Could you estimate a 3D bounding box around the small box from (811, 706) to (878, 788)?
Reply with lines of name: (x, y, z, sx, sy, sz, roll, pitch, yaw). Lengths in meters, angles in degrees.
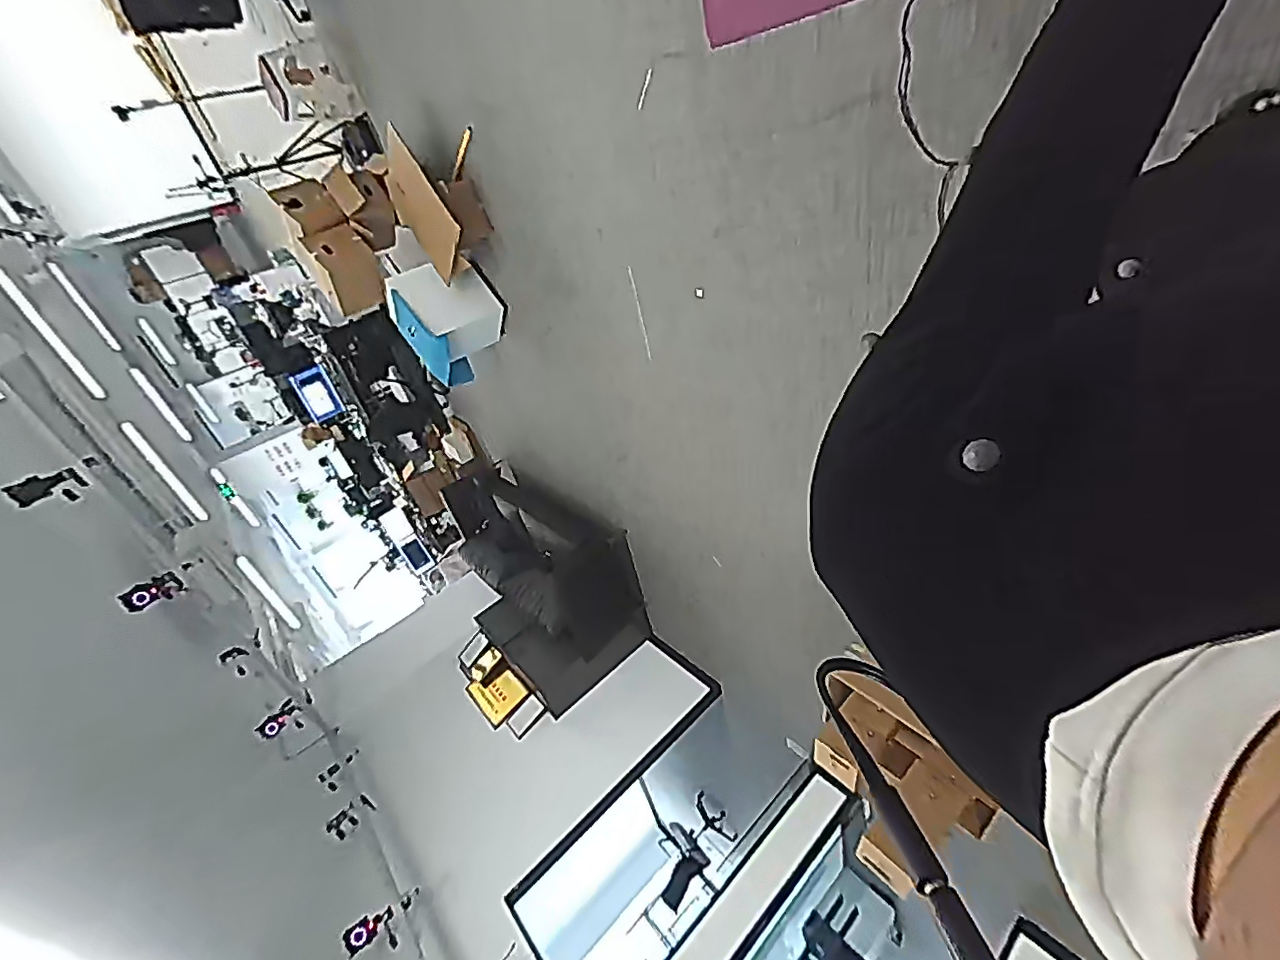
small box: (0.738, 0.956, 1.951, 0.168, 0.176, 0.179, 30, 144, 41)

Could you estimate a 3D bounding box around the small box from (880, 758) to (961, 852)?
small box: (0.918, 1.056, 1.767, 0.168, 0.176, 0.179, 32, 144, 40)

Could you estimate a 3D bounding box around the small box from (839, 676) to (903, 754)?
small box: (0.859, 0.873, 2.025, 0.168, 0.176, 0.179, 29, 143, 40)
